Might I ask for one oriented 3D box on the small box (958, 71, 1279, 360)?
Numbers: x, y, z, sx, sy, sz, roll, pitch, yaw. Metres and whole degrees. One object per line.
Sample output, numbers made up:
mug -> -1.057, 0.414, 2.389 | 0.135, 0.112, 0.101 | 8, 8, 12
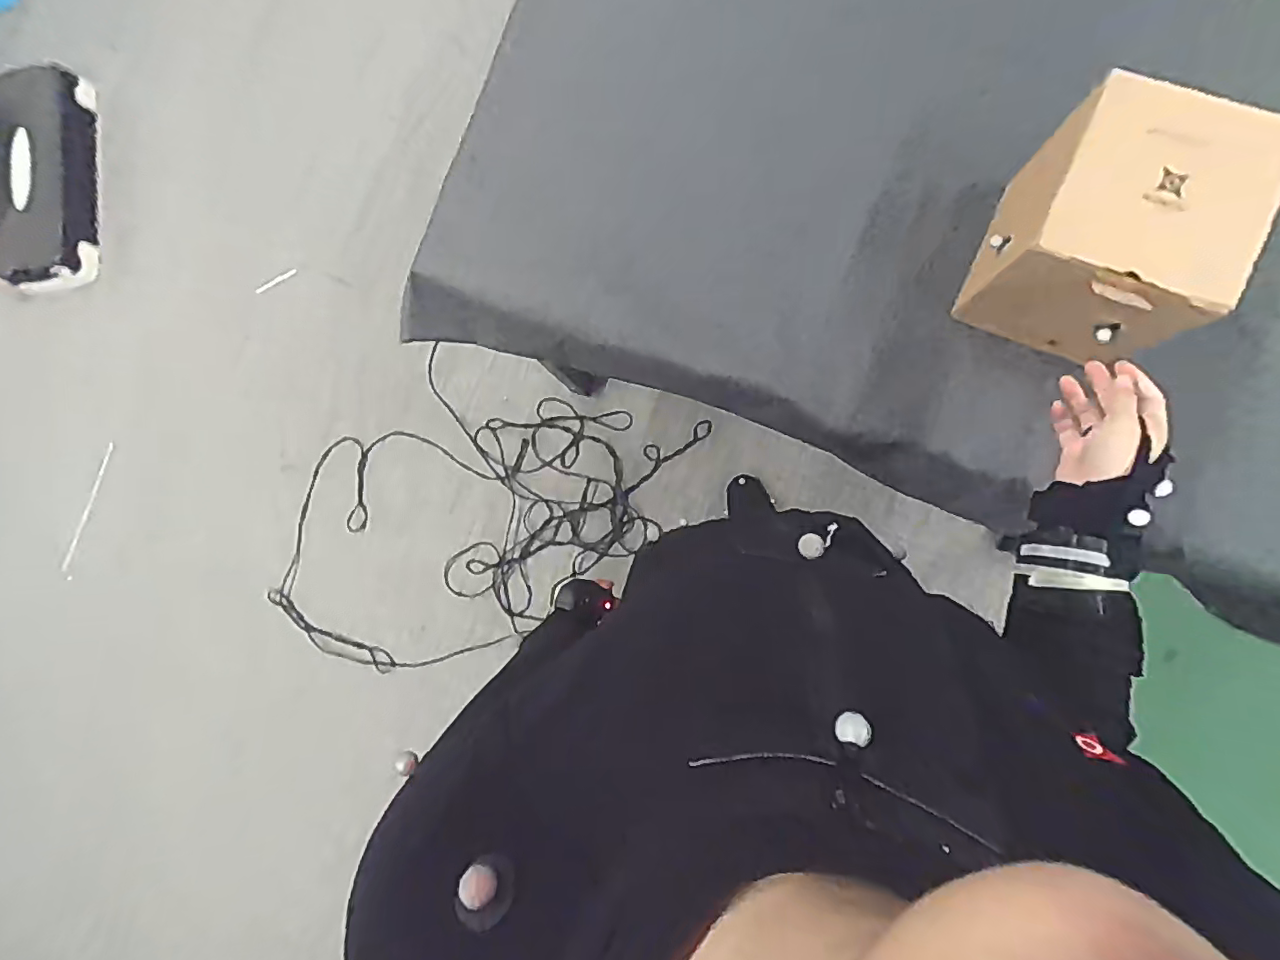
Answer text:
small box -> 0.455, -0.242, 0.539 | 0.168, 0.176, 0.179 | 23, 88, 7
